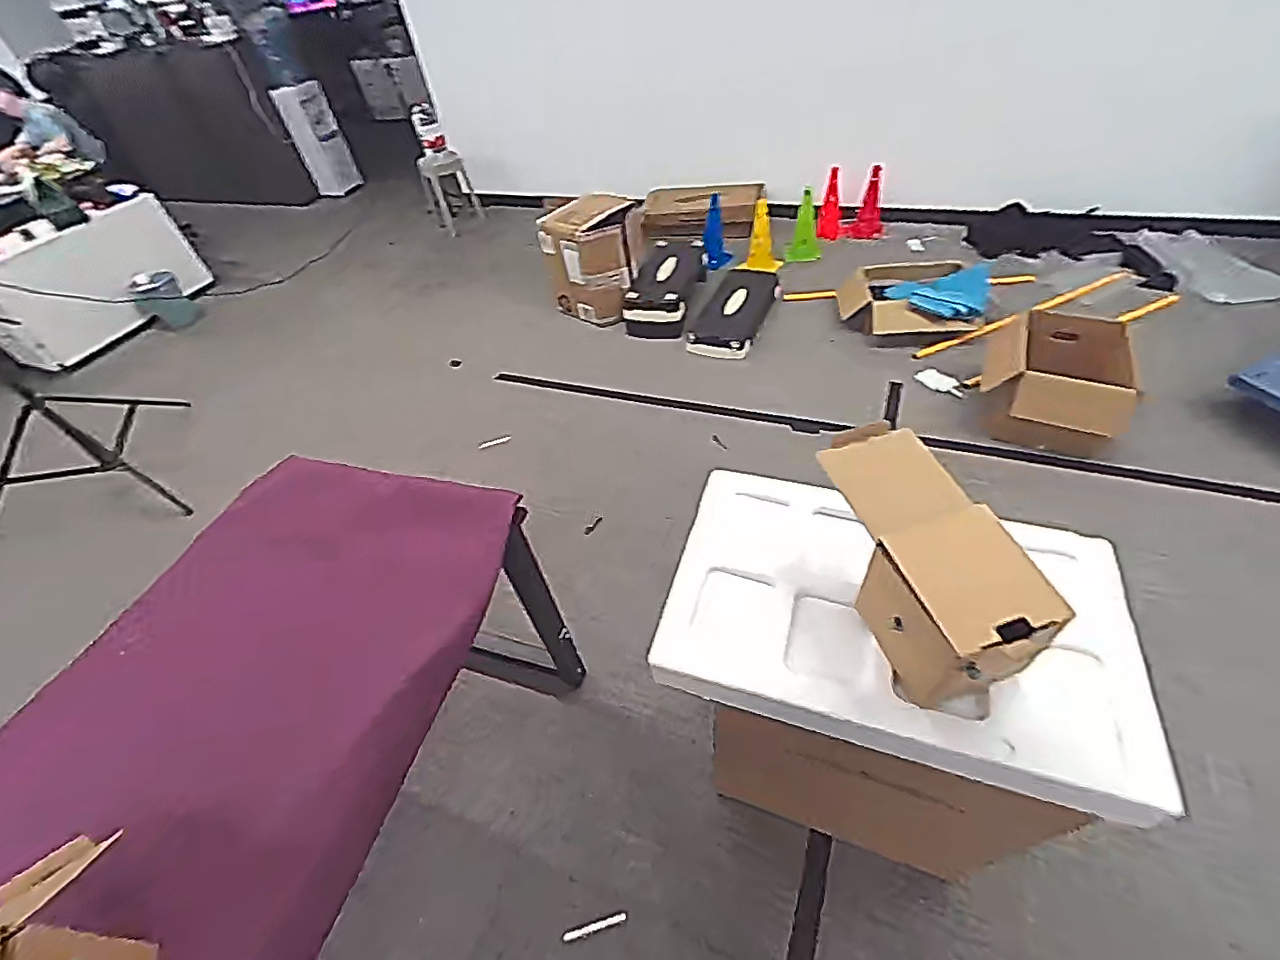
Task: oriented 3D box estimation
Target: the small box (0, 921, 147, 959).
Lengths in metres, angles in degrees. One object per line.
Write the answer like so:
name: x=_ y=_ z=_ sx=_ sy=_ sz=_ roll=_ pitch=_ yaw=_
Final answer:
small box: x=-0.593 y=0.566 z=0.495 sx=0.168 sy=0.176 sz=0.179 roll=-33 pitch=46 yaw=-19
